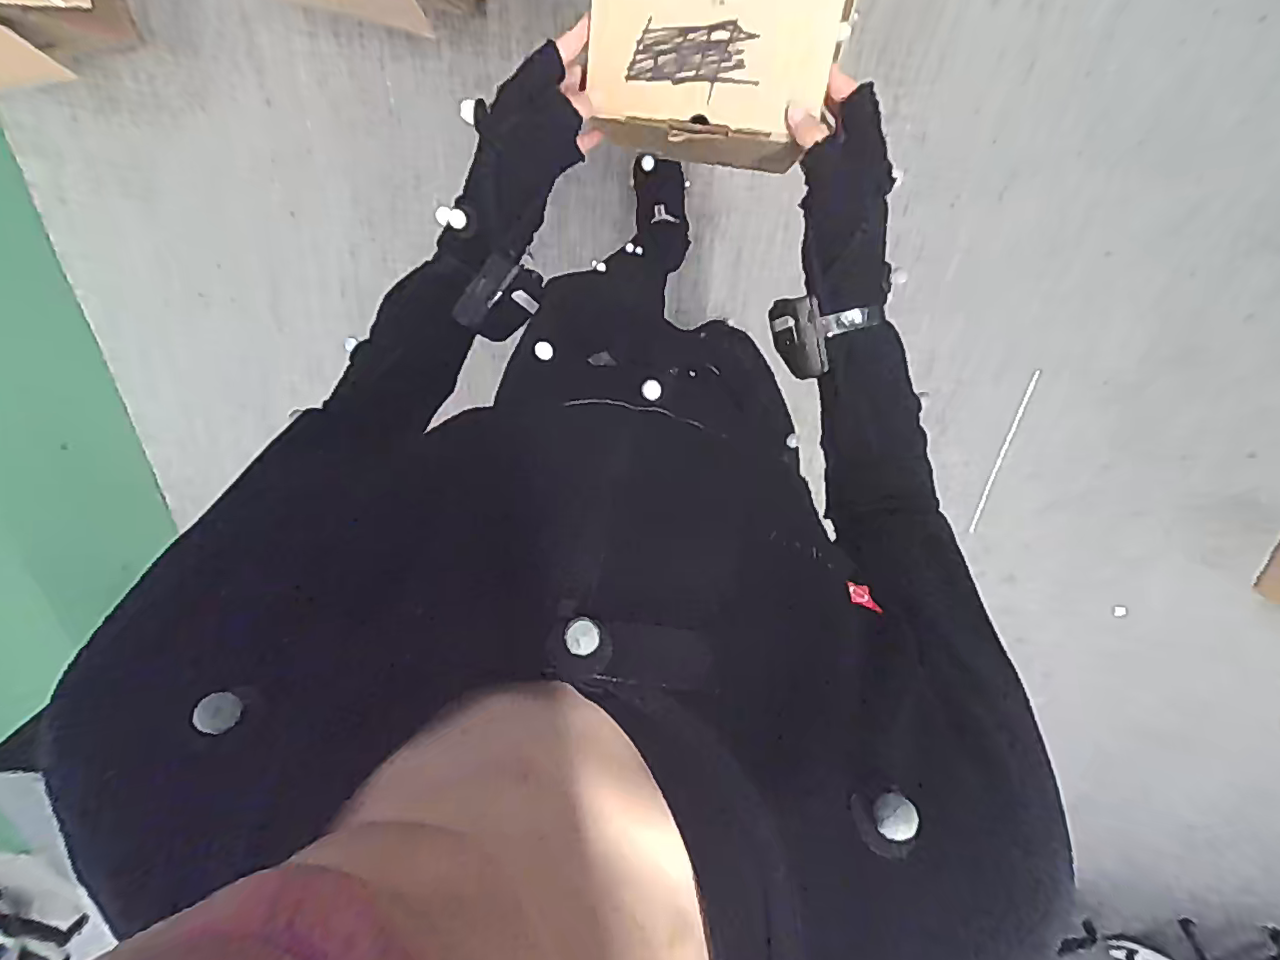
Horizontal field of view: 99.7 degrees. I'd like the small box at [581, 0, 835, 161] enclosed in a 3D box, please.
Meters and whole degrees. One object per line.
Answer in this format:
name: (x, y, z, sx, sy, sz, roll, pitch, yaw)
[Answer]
small box: (0.059, -0.365, 0.420, 0.168, 0.176, 0.179, 10, 112, 3)
